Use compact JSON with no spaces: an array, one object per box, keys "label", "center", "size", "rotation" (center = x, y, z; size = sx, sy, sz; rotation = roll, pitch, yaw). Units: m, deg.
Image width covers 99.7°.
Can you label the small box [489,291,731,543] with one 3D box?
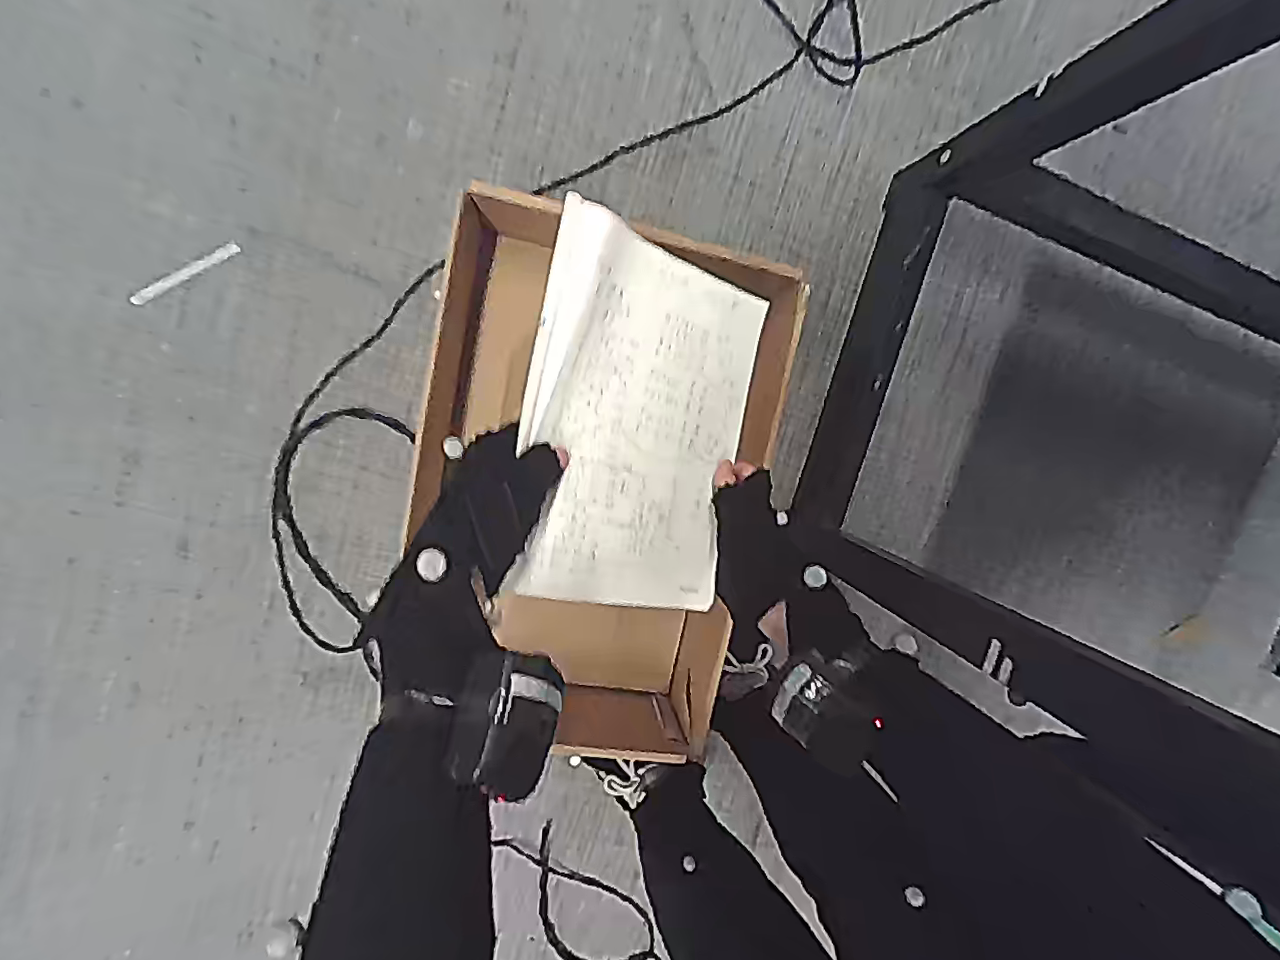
[{"label":"small box","center":[-0.039,-0.046,0.512],"size":[0.168,0.176,0.179],"rotation":[11,85,-24]}]
